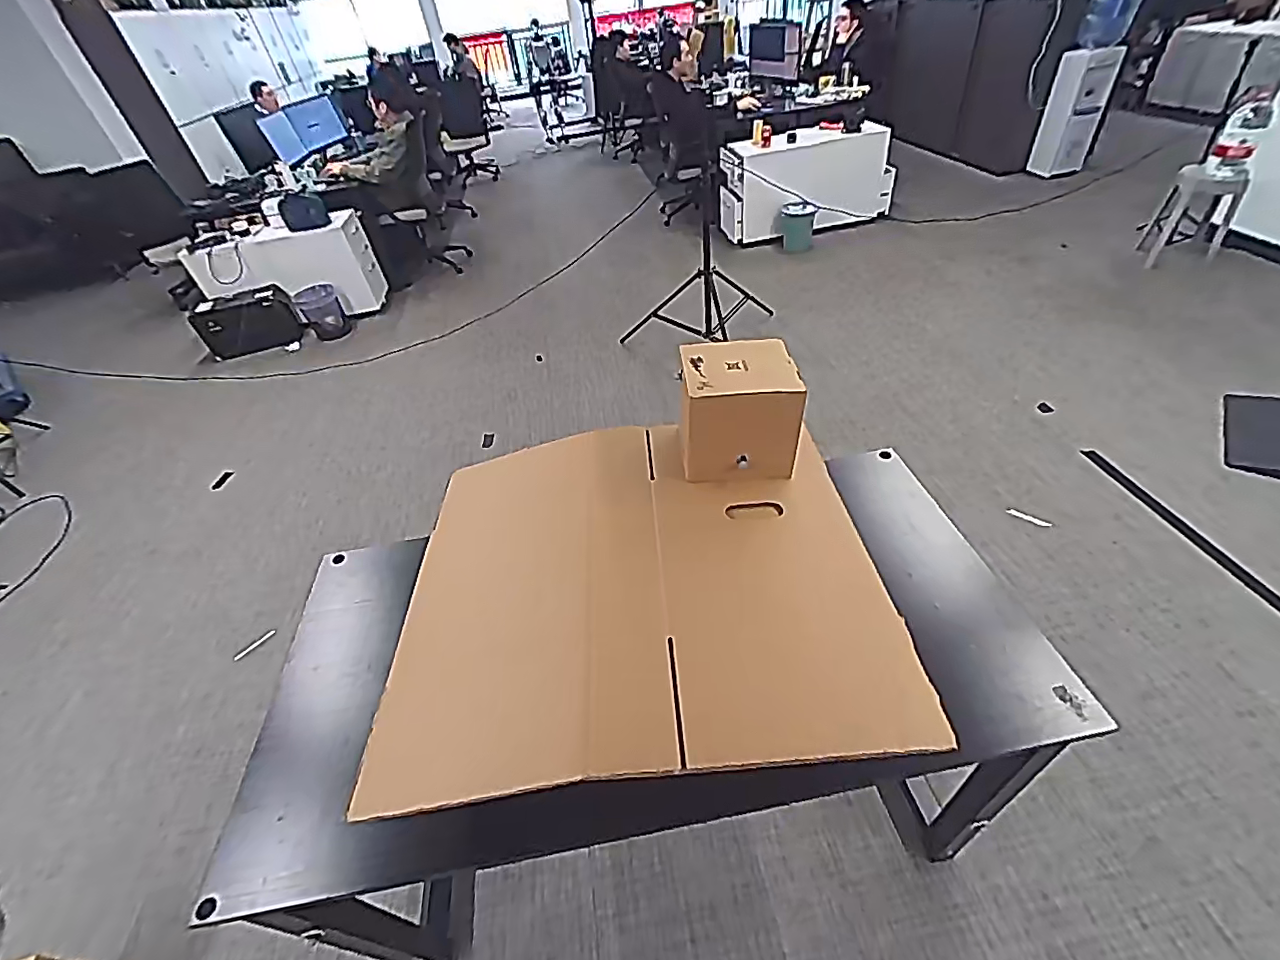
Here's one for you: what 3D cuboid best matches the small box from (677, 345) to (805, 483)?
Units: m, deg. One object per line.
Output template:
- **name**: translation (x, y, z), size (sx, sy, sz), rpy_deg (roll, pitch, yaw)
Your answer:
- **small box**: translation (0.157, -0.109, 0.906), size (0.179, 0.176, 0.168), rpy_deg (-3, 40, 0)
